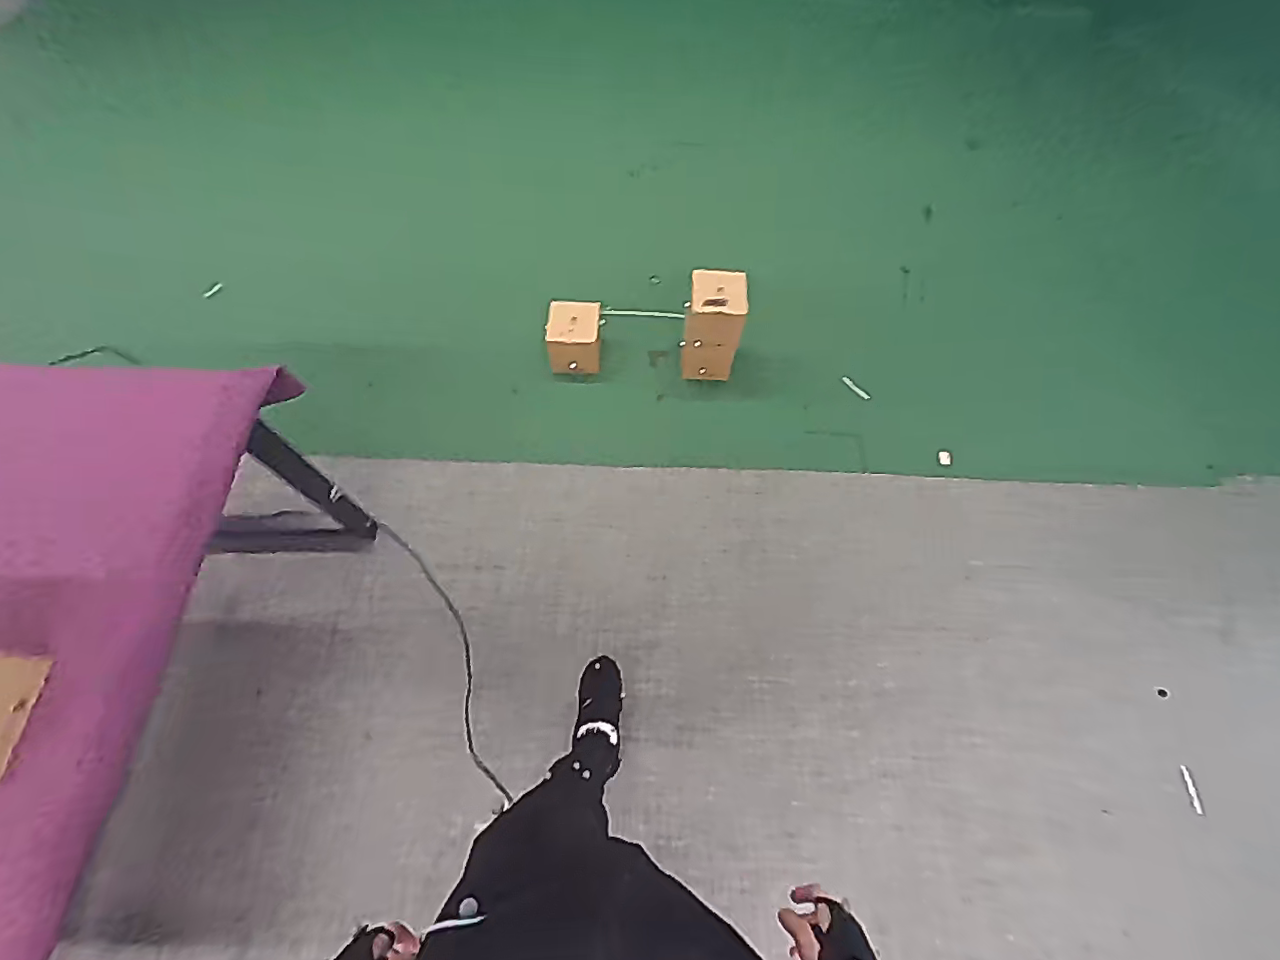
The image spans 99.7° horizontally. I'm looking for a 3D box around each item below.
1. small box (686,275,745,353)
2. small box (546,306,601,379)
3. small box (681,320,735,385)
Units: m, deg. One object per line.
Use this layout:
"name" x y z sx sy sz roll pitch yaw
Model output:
"small box" 0.239 -0.527 1.733 0.168 0.176 0.179 4 63 -1
"small box" -0.224 -0.476 1.873 0.168 0.176 0.179 2 63 0
"small box" 0.232 -0.455 1.881 0.168 0.176 0.179 4 64 -1
